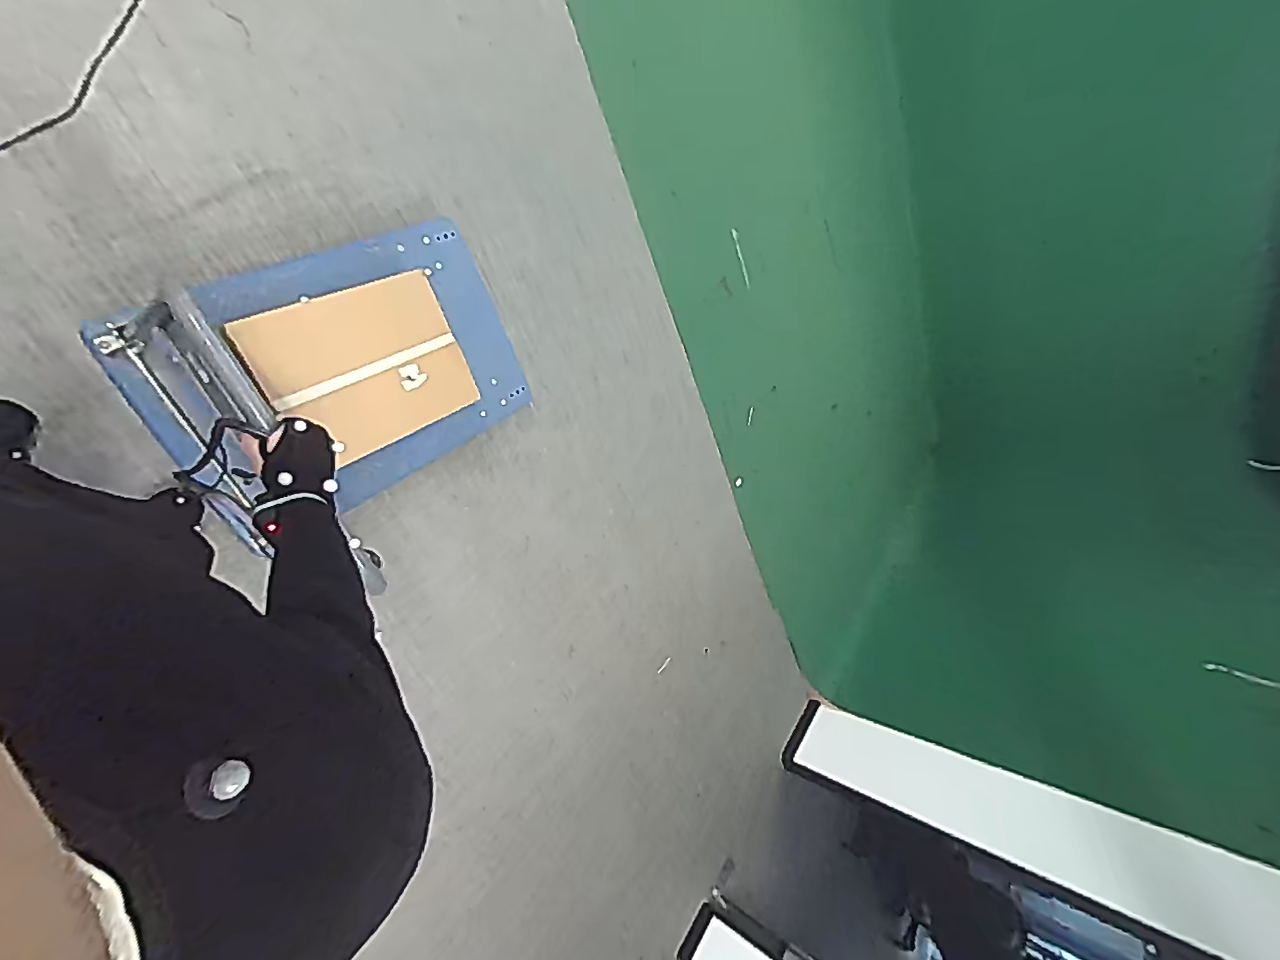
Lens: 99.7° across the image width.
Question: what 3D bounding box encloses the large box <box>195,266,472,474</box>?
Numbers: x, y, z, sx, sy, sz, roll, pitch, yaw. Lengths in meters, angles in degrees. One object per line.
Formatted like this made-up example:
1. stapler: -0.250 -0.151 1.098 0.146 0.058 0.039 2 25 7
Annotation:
1. large box: -0.679 -0.246 1.227 0.408 0.320 0.320 -39 120 -38
